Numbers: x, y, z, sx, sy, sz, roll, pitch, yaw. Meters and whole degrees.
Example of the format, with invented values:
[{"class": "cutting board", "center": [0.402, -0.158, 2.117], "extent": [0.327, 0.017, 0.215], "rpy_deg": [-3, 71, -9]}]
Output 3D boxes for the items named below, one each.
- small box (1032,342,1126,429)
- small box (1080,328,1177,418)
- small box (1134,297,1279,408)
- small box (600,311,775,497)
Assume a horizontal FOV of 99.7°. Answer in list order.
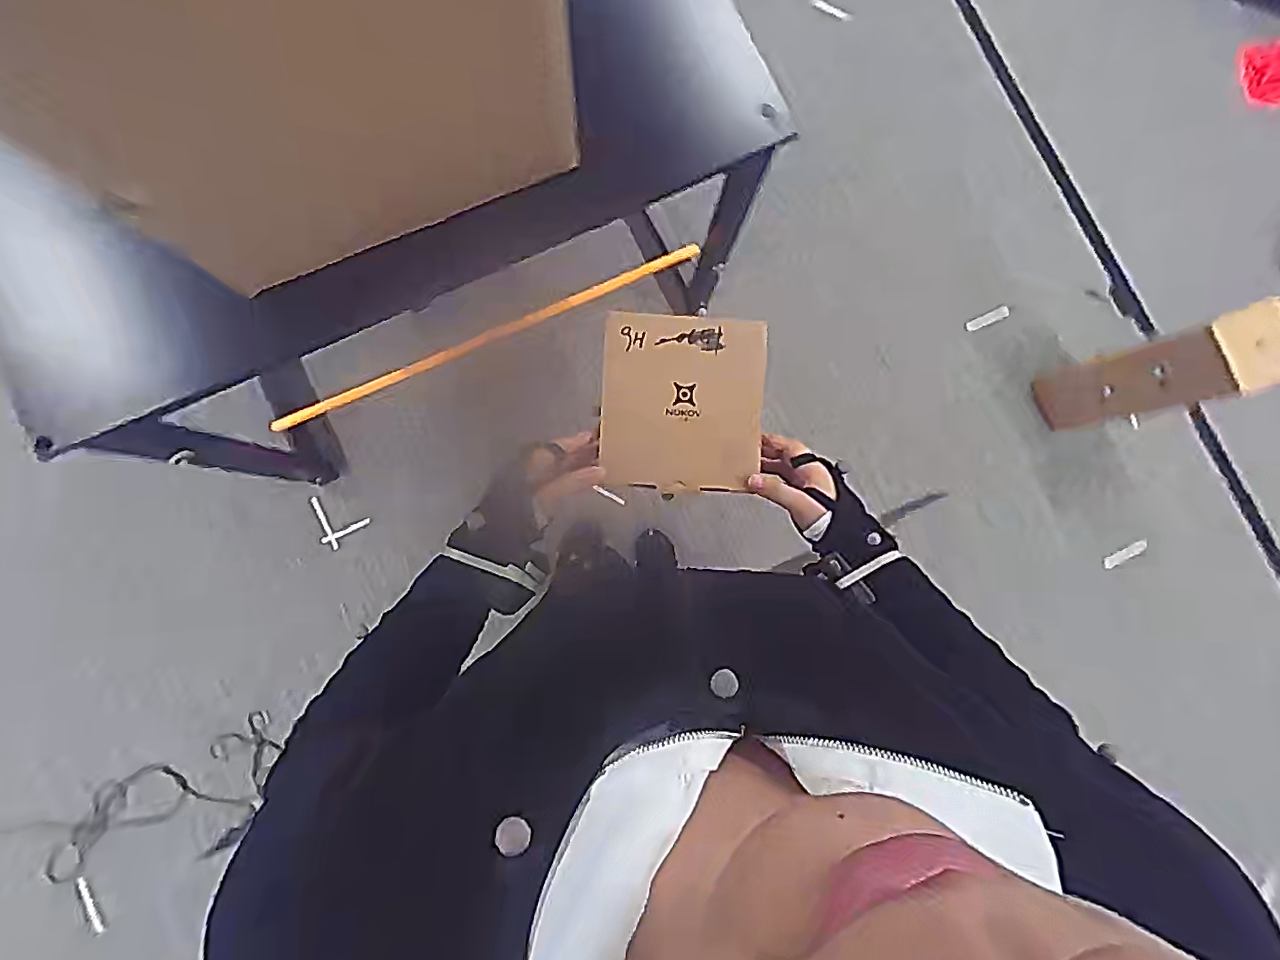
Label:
[{"class": "small box", "center": [1.275, -0.264, 1.544], "extent": [0.168, 0.176, 0.179], "rpy_deg": [-22, 88, -5]}, {"class": "small box", "center": [1.293, -0.273, 1.380], "extent": [0.179, 0.176, 0.168], "rpy_deg": [-22, 87, -5]}, {"class": "small box", "center": [1.291, -0.280, 1.217], "extent": [0.179, 0.176, 0.168], "rpy_deg": [-22, 86, -4]}, {"class": "small box", "center": [0.044, -0.080, 0.621], "extent": [0.168, 0.176, 0.179], "rpy_deg": [4, 93, -3]}]
